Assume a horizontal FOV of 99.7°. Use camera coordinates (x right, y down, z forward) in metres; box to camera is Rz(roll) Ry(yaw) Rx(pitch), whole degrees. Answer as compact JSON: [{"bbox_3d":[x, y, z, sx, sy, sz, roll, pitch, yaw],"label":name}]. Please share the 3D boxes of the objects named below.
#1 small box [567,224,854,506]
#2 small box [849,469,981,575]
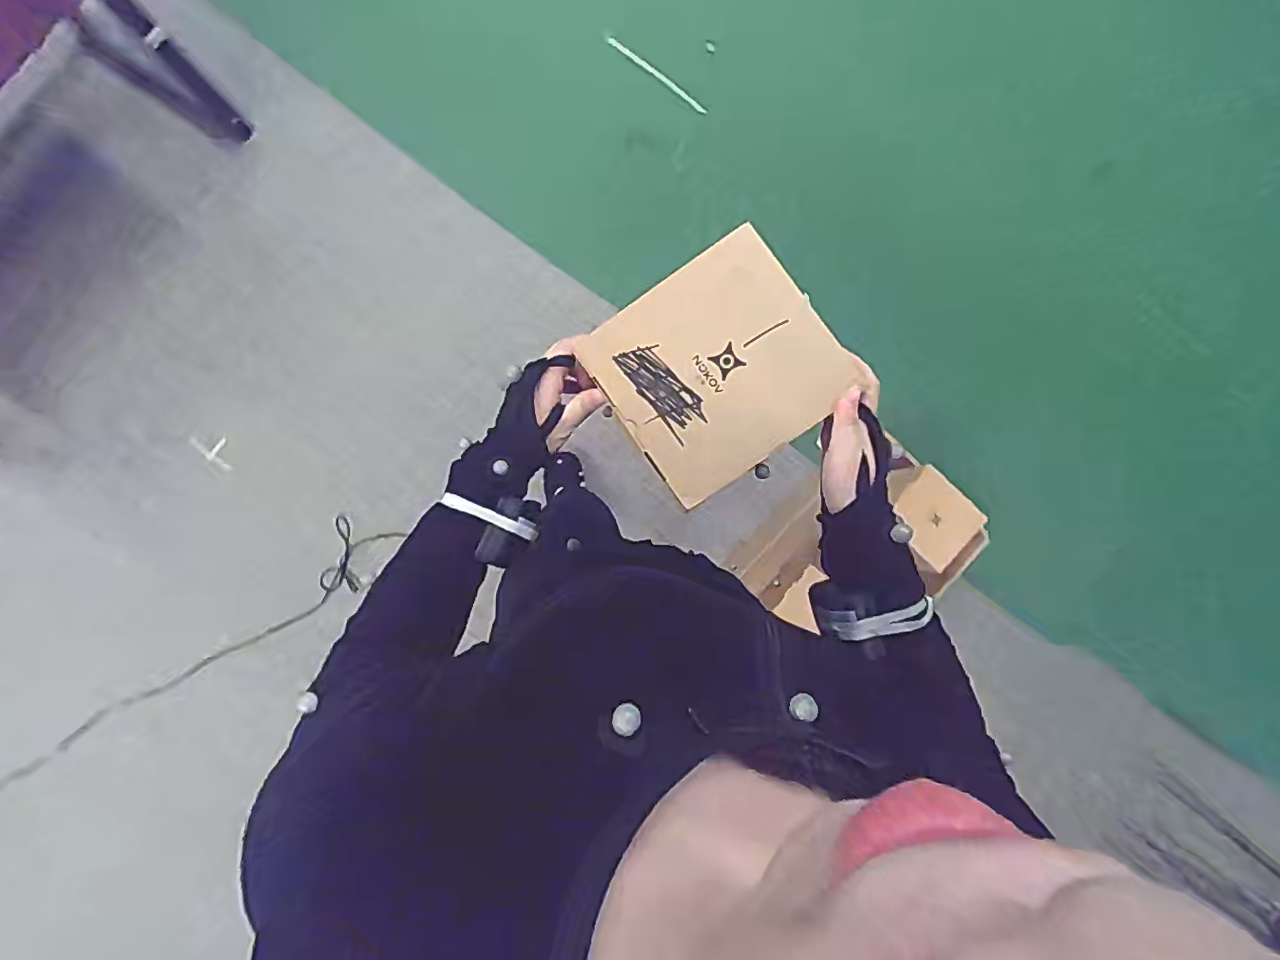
[{"bbox_3d":[0.061,-0.088,0.510,0.179,0.176,0.168,-36,86,2],"label":"small box"},{"bbox_3d":[0.629,0.096,1.257,0.179,0.176,0.168,45,85,2],"label":"small box"}]
